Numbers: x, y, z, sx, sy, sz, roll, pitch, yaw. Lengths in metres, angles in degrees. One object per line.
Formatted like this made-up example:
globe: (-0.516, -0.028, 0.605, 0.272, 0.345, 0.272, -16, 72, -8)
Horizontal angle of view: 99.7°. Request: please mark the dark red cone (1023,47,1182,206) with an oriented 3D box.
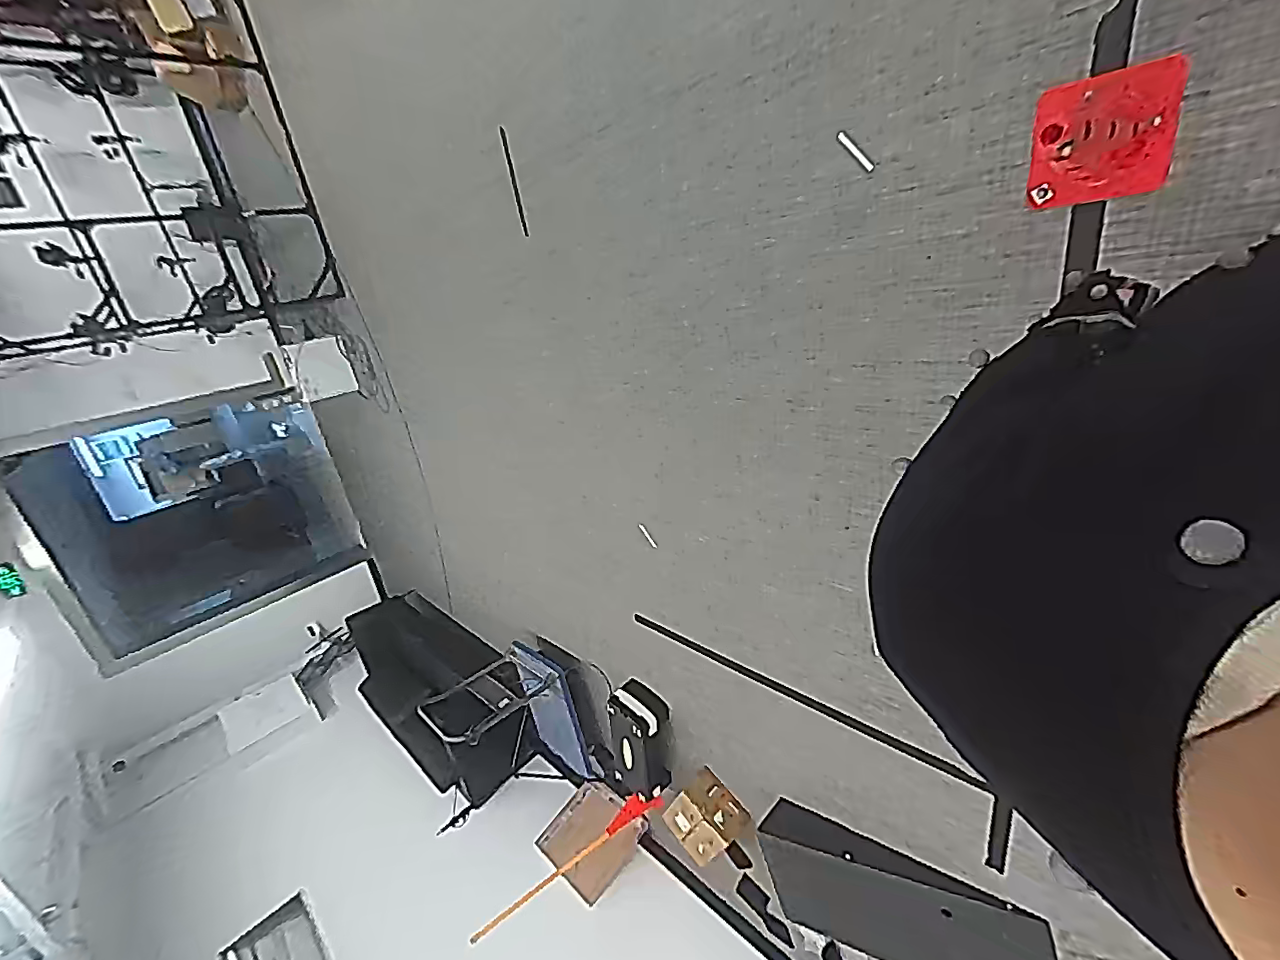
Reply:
dark red cone: (0.673, -0.537, 0.831, 0.201, 0.394, 0.202, 11, 120, 44)
